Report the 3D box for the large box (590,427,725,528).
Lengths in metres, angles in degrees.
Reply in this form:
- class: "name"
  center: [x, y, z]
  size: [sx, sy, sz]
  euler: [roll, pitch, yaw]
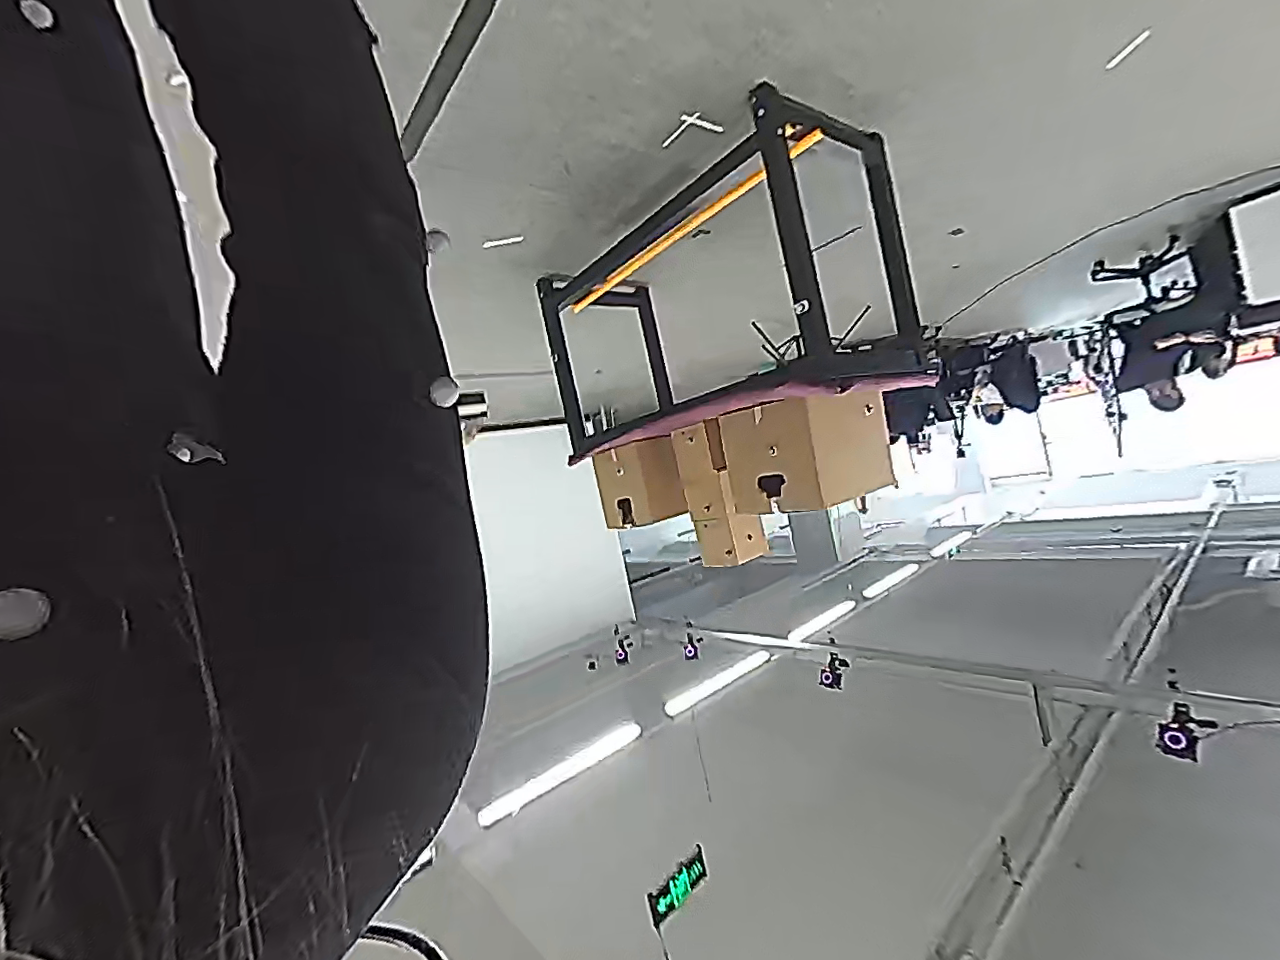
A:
- class: "large box"
  center: [0.066, -0.012, 2.175]
  size: [0.408, 0.320, 0.320]
  euler: [-14, -178, -39]
